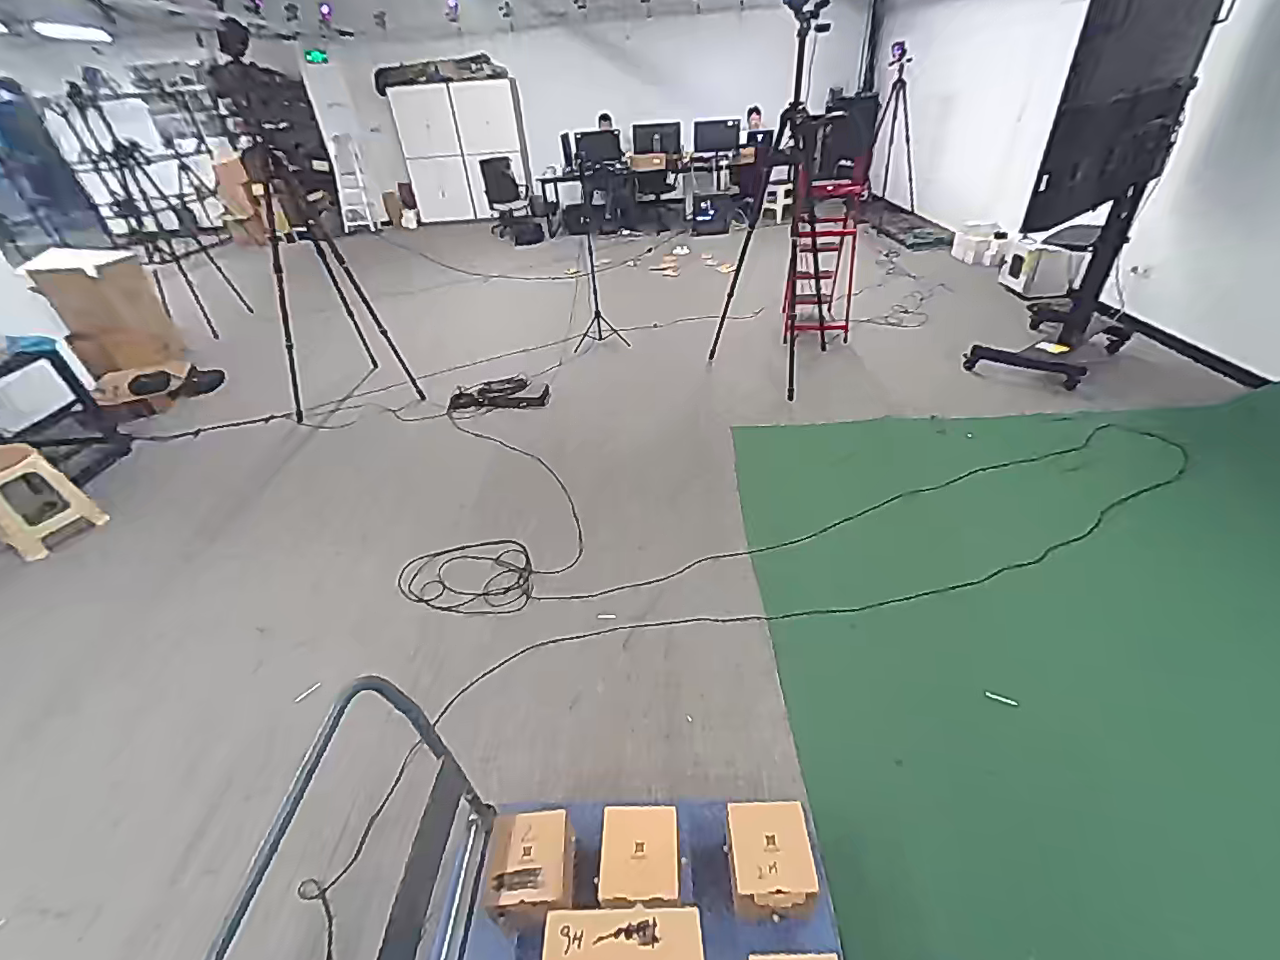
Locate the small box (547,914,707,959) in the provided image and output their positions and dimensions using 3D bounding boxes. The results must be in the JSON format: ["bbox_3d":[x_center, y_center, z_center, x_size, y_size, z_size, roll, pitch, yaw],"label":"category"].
[{"bbox_3d":[-0.014,0.579,0.546,0.168,0.176,0.179,1,30,-1],"label":"small box"}]

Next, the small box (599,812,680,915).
[{"bbox_3d":[0.004,0.870,1.205,0.168,0.176,0.179,-2,37,3],"label":"small box"}]

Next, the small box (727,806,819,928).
[{"bbox_3d":[0.283,0.851,1.191,0.168,0.176,0.179,-4,36,3],"label":"small box"}]
